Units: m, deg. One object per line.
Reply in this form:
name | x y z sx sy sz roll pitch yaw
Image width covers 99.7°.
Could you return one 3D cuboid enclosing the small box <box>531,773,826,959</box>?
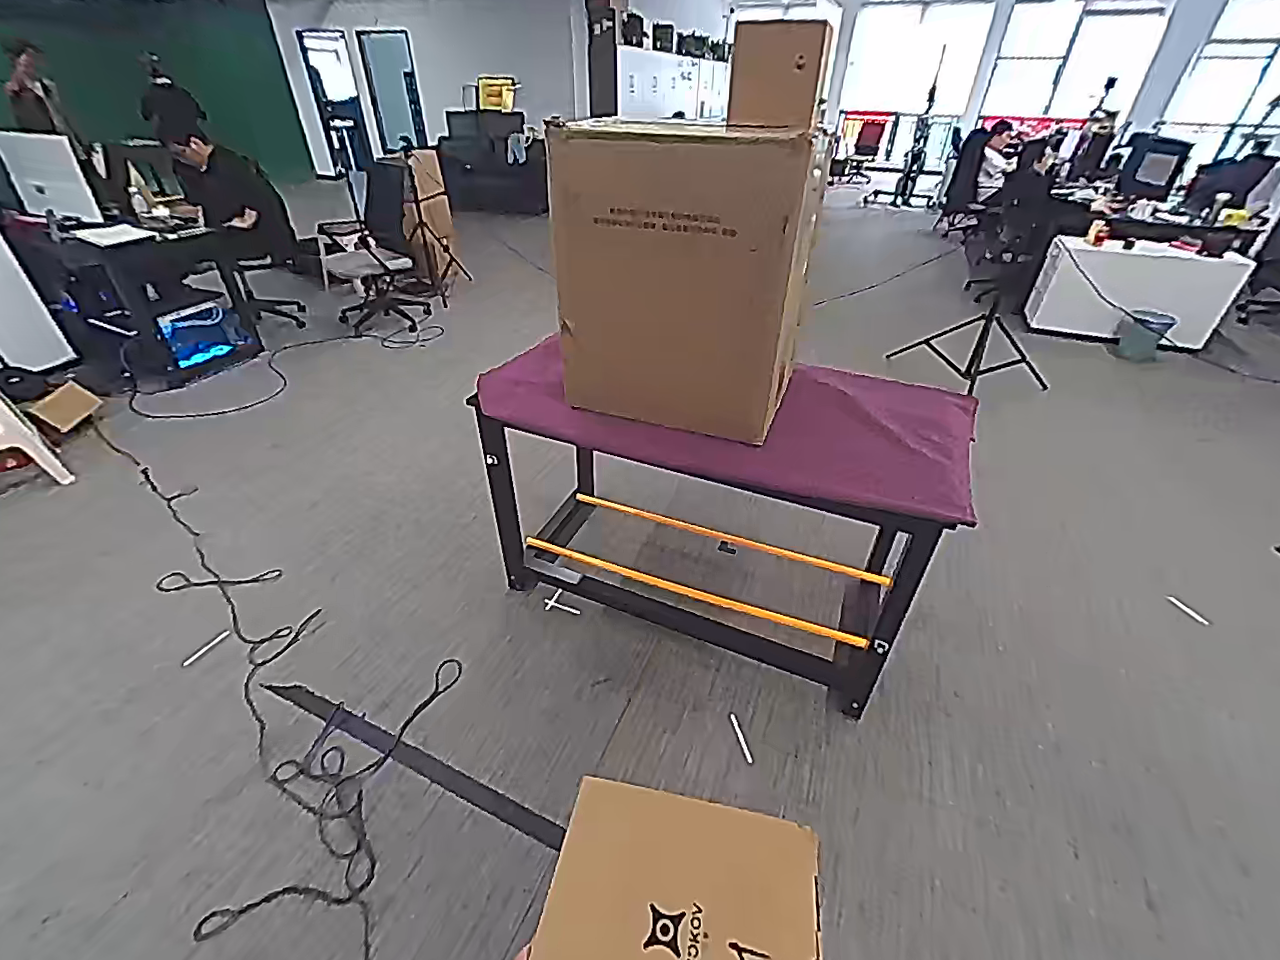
small box | 0.026 0.345 0.380 0.179 0.176 0.168 7 36 10
